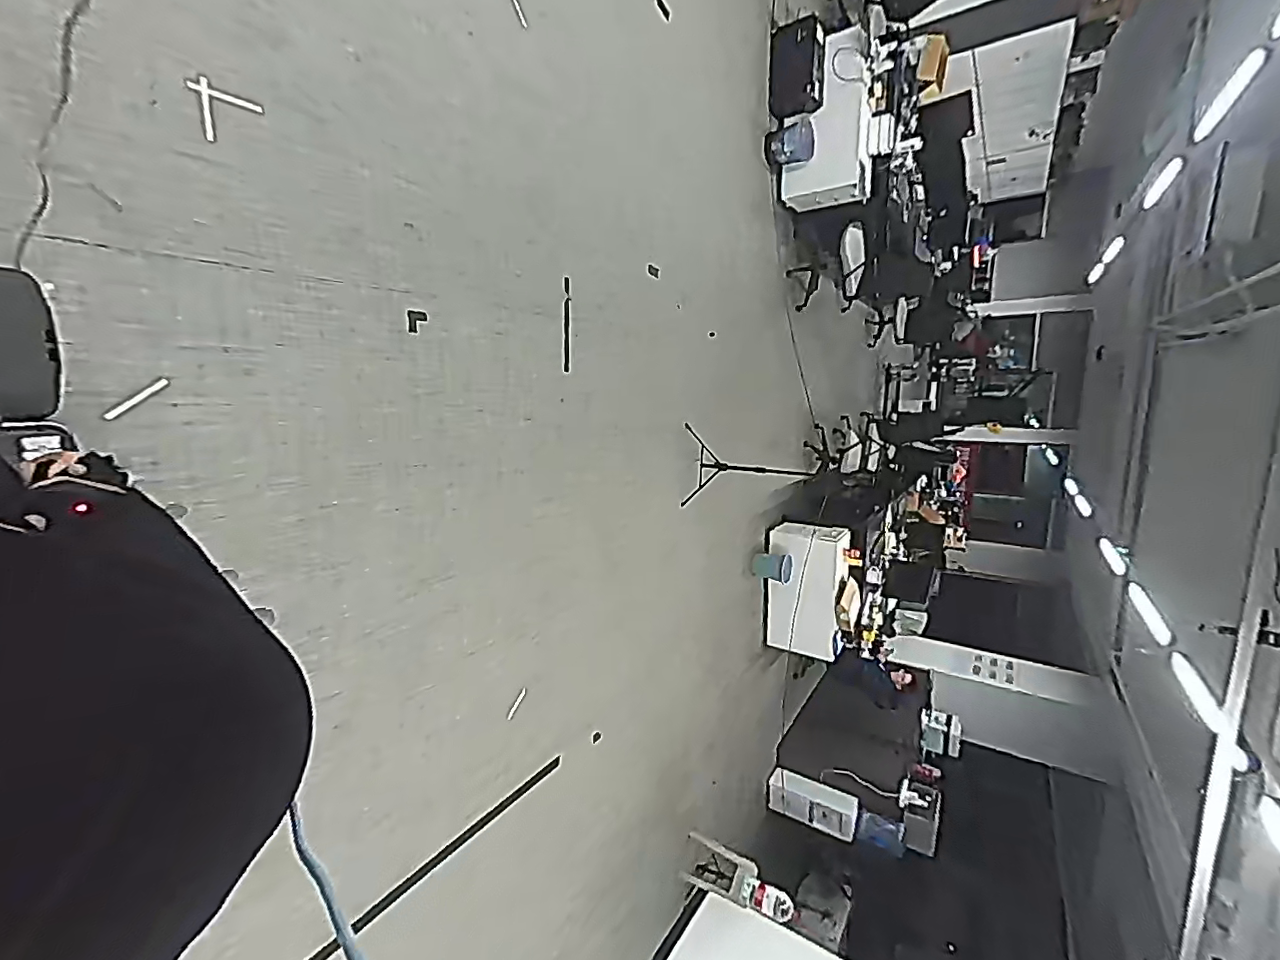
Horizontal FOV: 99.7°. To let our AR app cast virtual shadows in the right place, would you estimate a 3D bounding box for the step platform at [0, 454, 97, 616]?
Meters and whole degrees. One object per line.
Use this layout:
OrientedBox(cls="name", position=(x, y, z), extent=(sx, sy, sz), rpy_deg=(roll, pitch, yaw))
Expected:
OrientedBox(cls="step platform", position=(-1.296, 0.105, 0.810), extent=(0.684, 0.204, 0.286), rpy_deg=(-4, 97, -54))
